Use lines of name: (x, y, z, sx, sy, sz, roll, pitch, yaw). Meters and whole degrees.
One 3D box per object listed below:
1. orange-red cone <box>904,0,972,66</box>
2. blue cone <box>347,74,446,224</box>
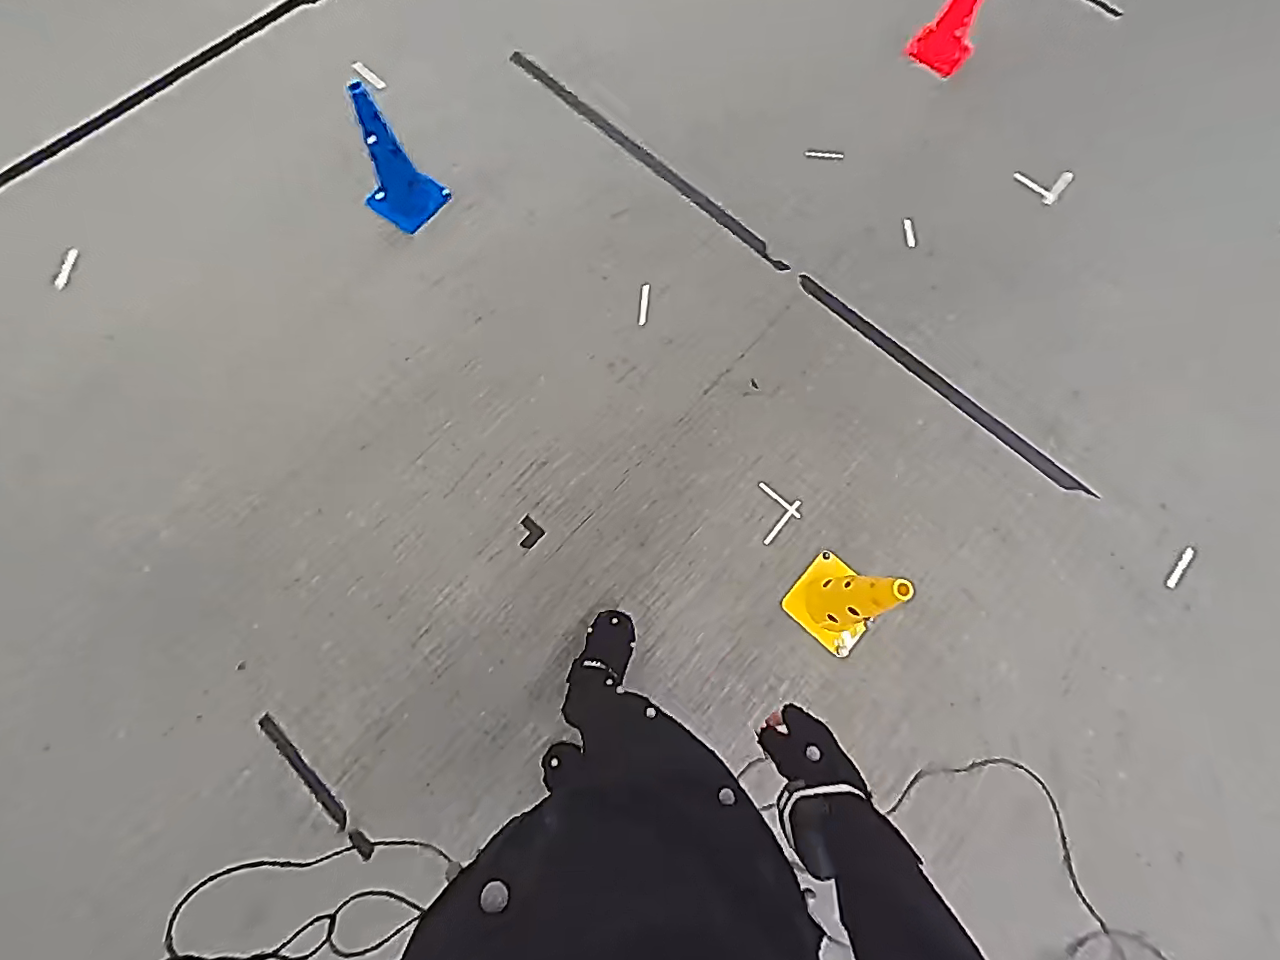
orange-red cone: (1.083, -1.643, 1.798, 0.199, 0.360, 0.198, 37, 75, 10)
blue cone: (-0.719, -0.932, 1.512, 0.193, 0.380, 0.192, 36, 75, 9)
